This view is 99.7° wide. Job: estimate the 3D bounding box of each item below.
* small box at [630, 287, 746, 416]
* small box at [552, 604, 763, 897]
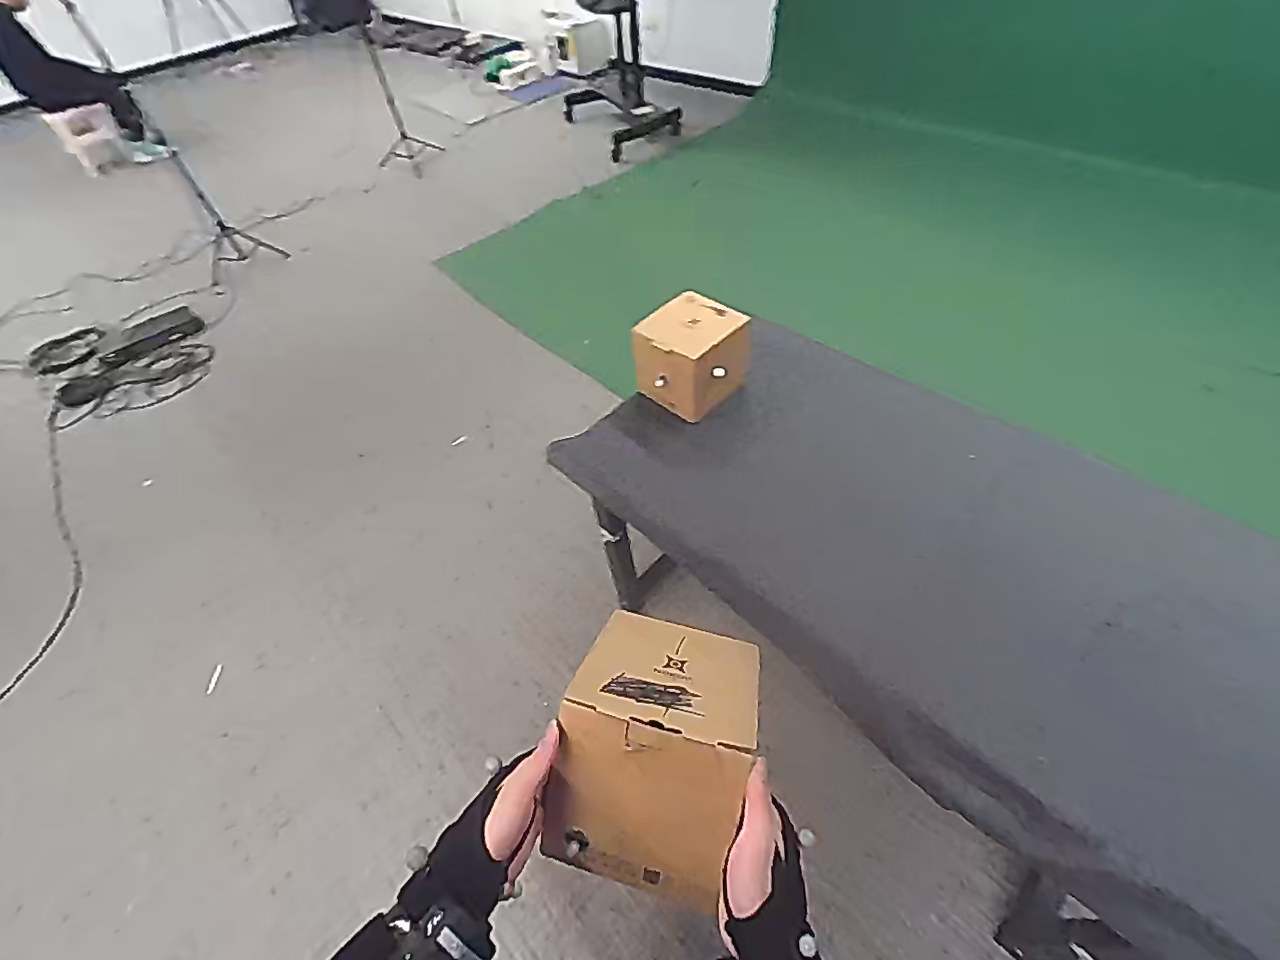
[{"bbox_3d":[0.103,-0.266,1.132,0.168,0.176,0.179,36,64,28],"label":"small box"},{"bbox_3d":[0.021,0.253,0.534,0.168,0.176,0.179,13,15,11],"label":"small box"}]
